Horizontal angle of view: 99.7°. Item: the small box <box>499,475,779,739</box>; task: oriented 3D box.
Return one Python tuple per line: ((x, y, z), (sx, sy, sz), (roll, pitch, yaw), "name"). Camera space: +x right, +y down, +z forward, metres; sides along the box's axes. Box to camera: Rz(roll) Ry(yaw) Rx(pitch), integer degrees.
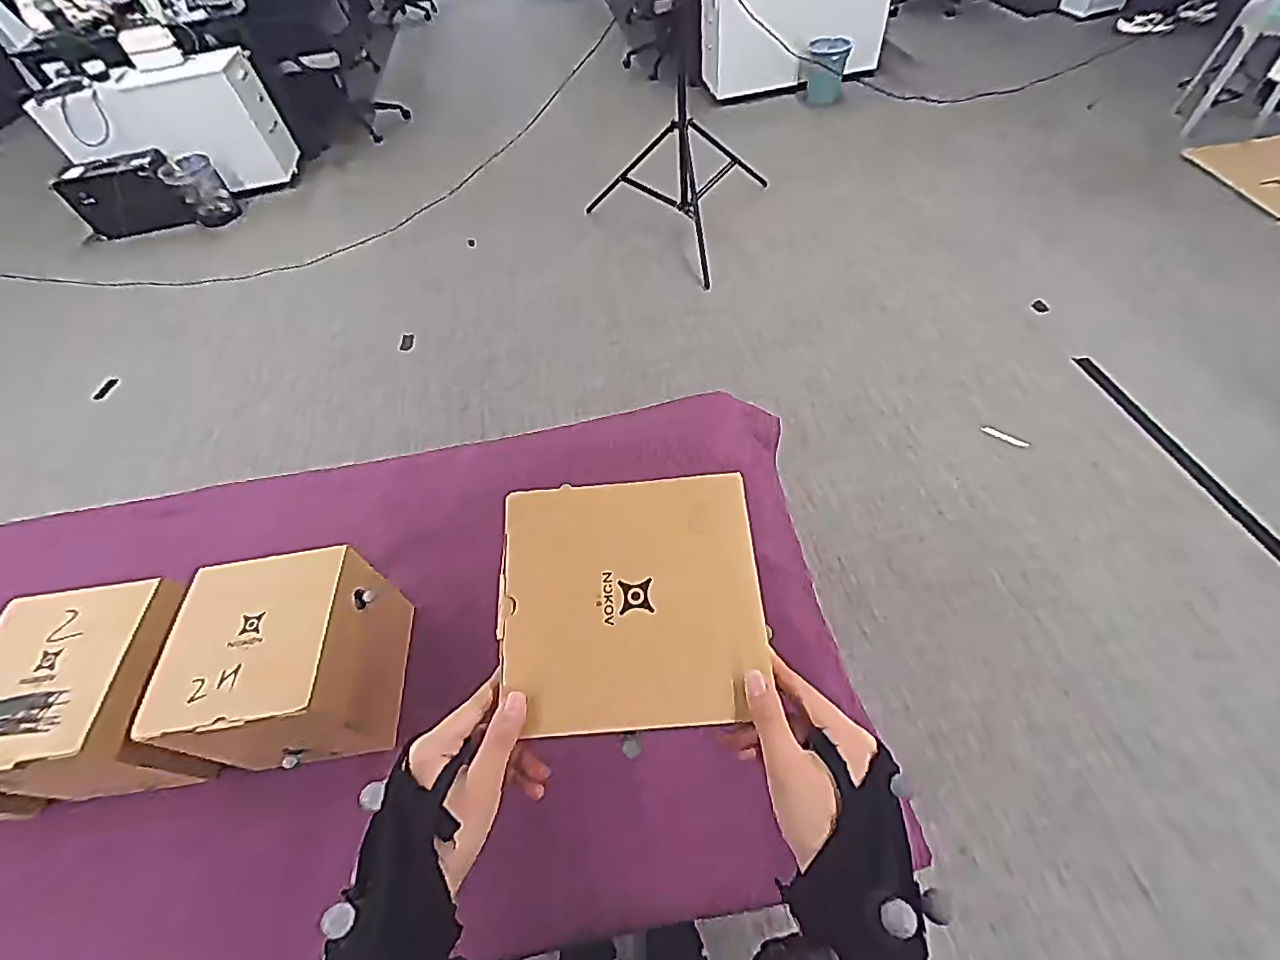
((0.000, 0.109, 0.435), (0.179, 0.176, 0.168), (-6, 66, 3), "small box")
